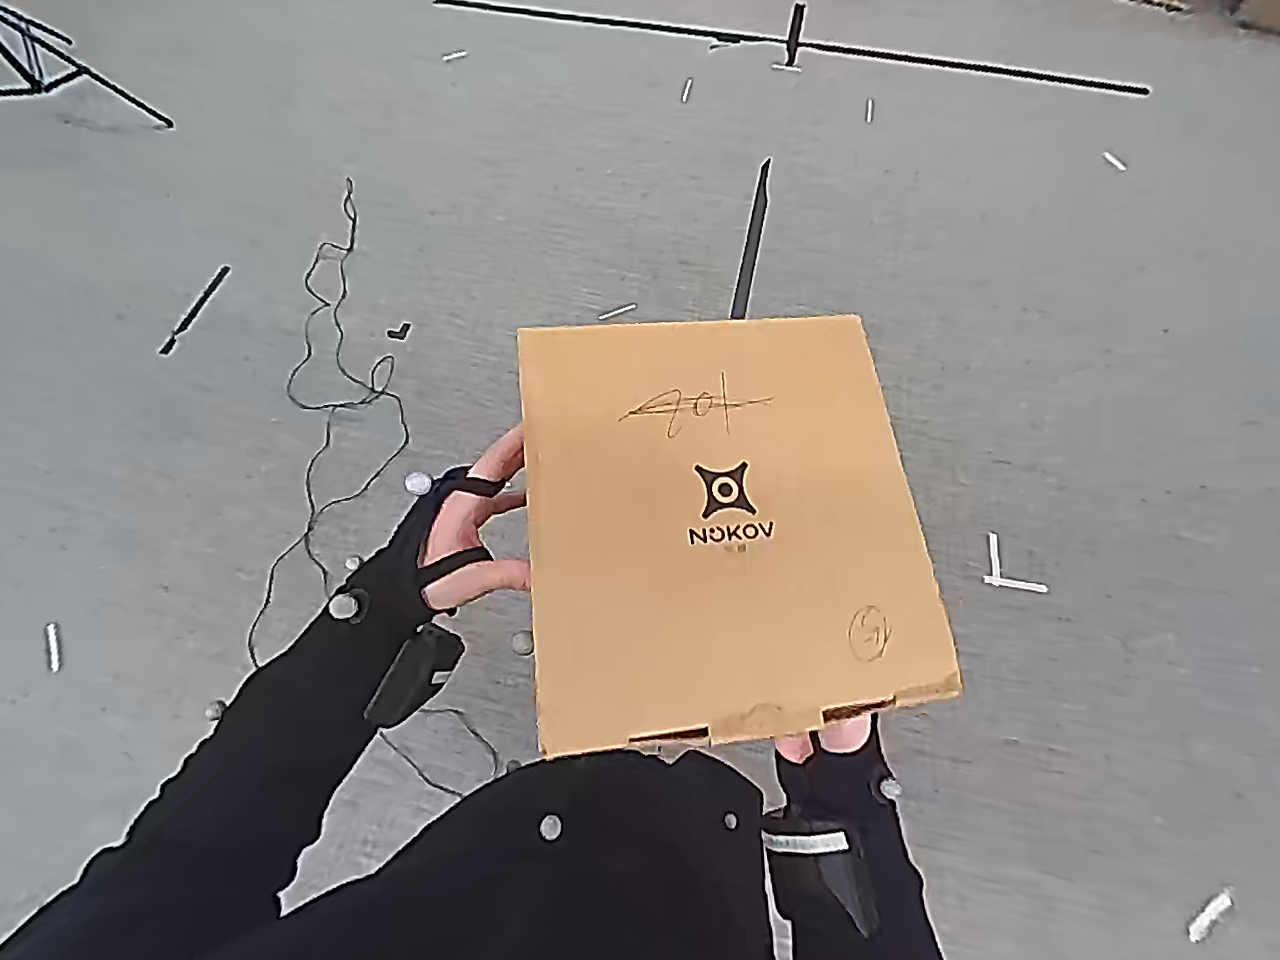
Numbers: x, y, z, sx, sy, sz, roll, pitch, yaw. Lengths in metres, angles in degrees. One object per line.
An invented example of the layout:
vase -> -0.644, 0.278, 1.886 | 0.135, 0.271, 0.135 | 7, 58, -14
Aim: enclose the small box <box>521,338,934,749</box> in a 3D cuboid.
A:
small box -> 0.024, 0.041, 0.315 | 0.168, 0.176, 0.179 | -4, 69, -9
